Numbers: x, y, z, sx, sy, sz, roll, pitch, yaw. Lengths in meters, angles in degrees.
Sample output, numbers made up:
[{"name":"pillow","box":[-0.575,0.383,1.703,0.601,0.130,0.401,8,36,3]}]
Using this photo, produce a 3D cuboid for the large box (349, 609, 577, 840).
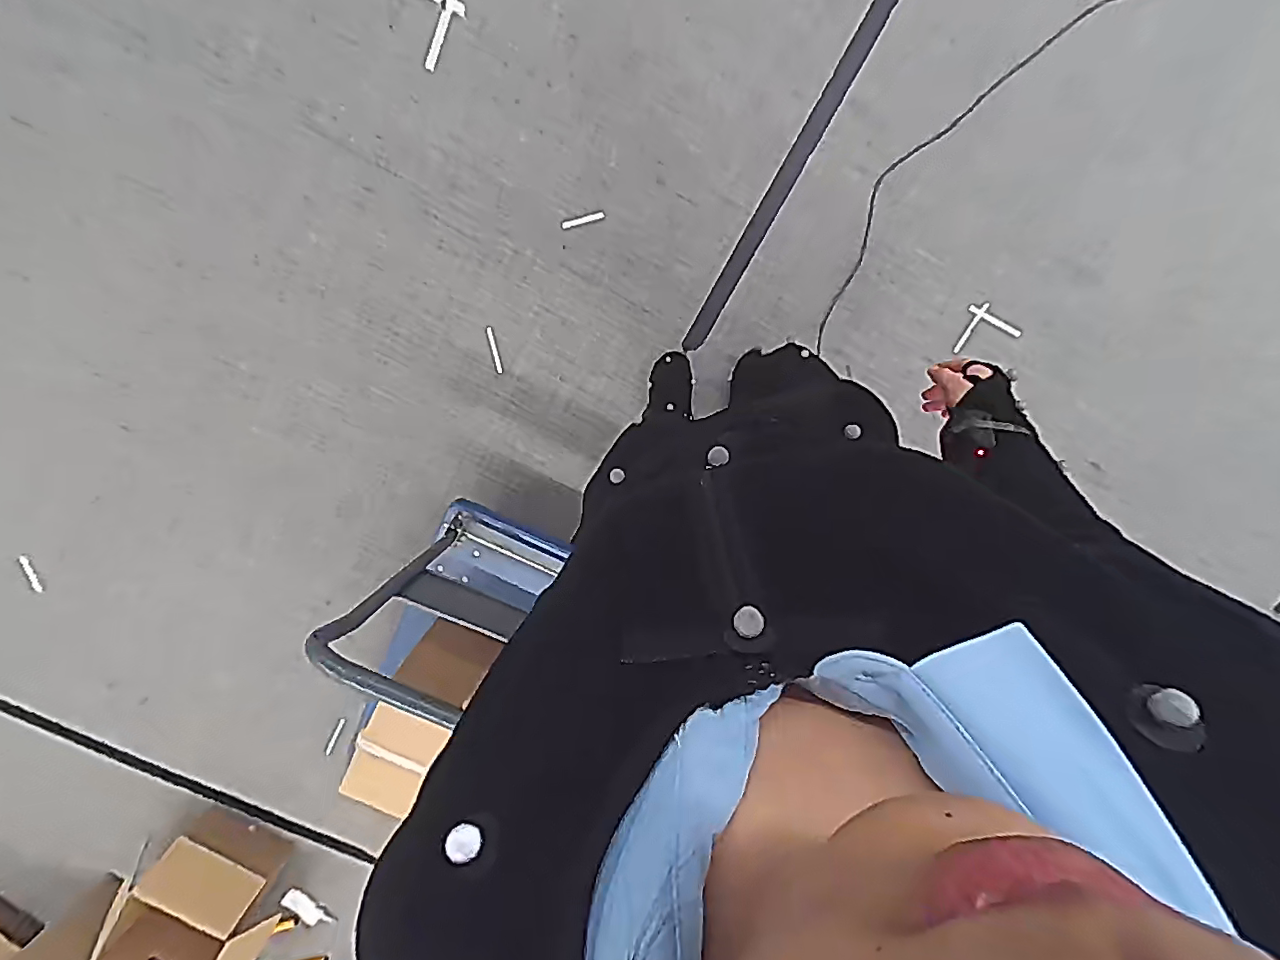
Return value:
[{"name":"large box","box":[-0.412,0.584,1.342,0.408,0.320,0.320,26,104,-7]}]
